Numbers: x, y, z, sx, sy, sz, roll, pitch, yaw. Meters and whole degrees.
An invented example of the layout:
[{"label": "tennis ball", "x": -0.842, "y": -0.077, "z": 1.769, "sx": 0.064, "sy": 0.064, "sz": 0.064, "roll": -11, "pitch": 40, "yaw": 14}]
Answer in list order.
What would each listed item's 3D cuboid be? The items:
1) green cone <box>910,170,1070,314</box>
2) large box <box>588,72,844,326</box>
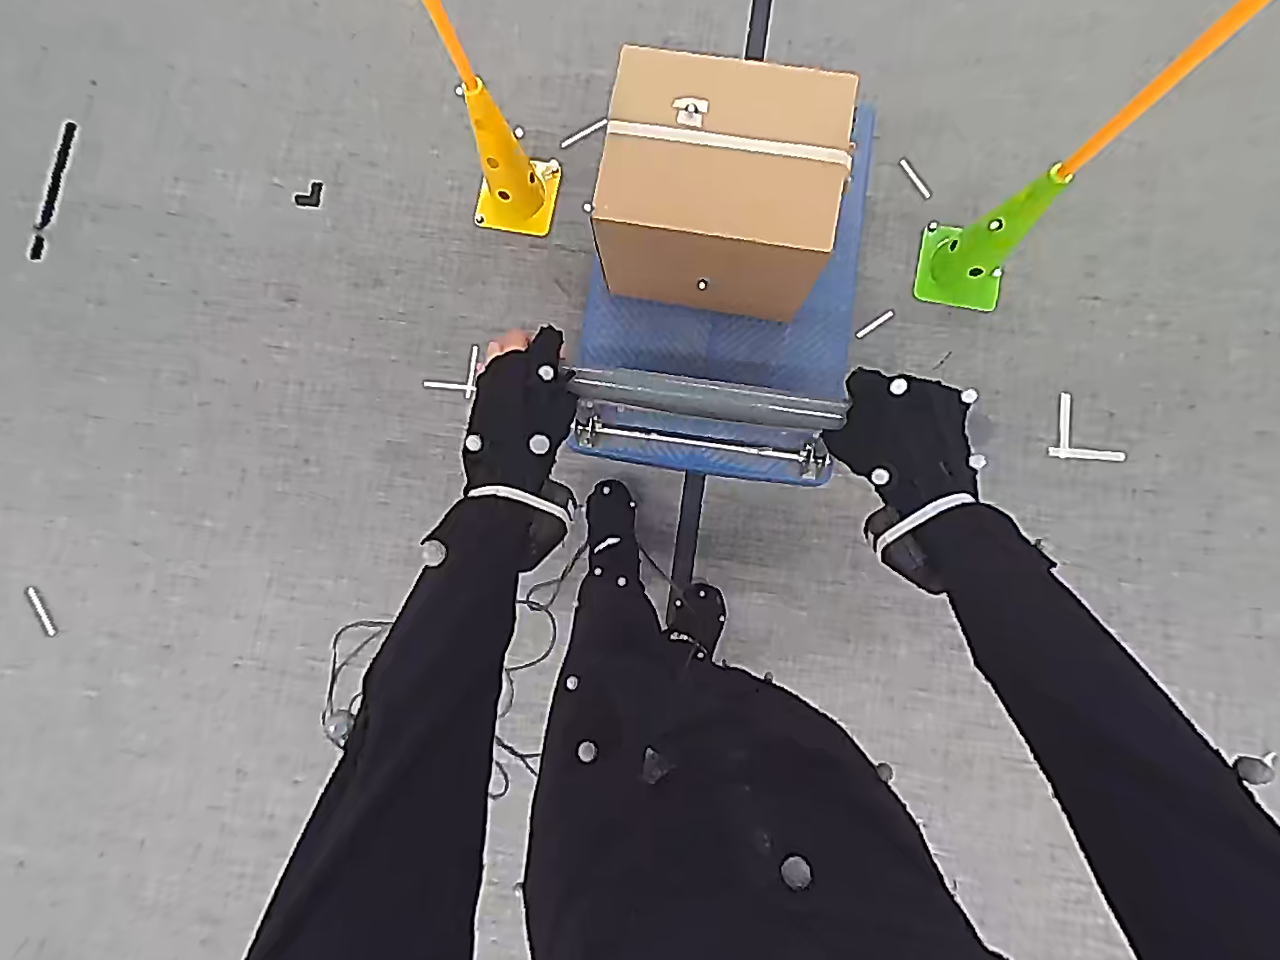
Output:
[{"label": "green cone", "x": 0.779, "y": -0.537, "z": 1.180, "sx": 0.202, "sy": 0.368, "sz": 0.200, "roll": 11, "pitch": 85, "yaw": 3}, {"label": "large box", "x": 0.141, "y": -0.524, "z": 1.068, "sx": 0.408, "sy": 0.320, "sz": 0.320, "roll": 10, "pitch": 86, "yaw": 4}]
